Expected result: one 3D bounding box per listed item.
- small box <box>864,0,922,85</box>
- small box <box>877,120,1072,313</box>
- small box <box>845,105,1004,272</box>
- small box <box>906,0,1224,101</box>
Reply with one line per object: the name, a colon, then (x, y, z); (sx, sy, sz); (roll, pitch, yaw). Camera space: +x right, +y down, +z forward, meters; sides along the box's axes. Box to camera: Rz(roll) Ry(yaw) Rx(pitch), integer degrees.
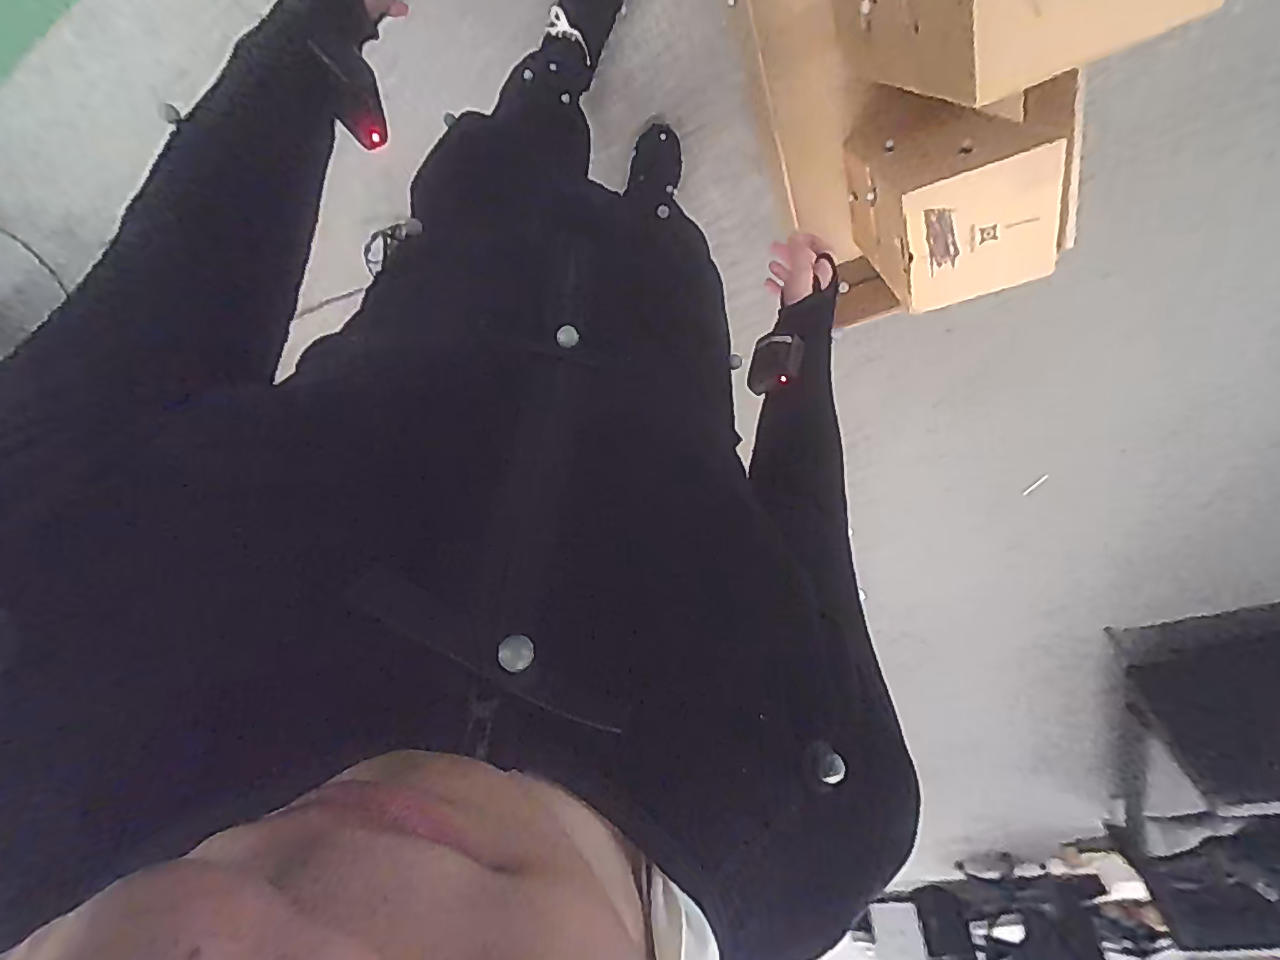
small box: (0.346, -0.551, 0.566); (0.179, 0.176, 0.168); (-16, 126, 17)
small box: (0.429, -0.354, 0.726); (0.179, 0.176, 0.168); (-14, 127, 16)
small box: (0.440, -0.461, 0.852); (0.179, 0.176, 0.168); (-14, 127, 17)
small box: (0.336, -0.448, 0.442); (0.179, 0.176, 0.168); (-15, 127, 16)
